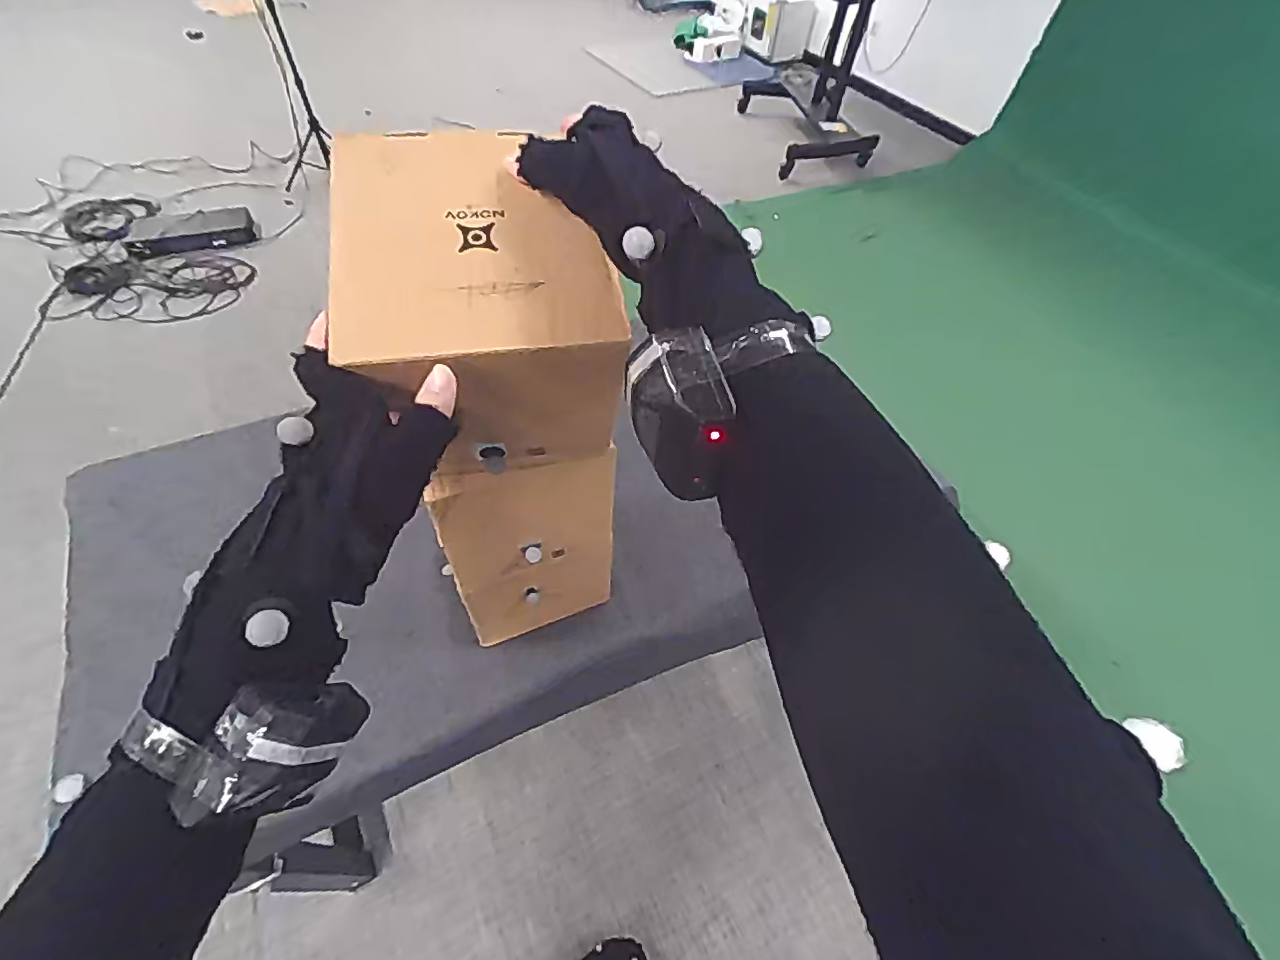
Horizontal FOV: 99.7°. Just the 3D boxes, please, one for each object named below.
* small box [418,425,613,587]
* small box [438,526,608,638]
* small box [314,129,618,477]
[{"bbox_3d":[-0.138,-0.022,0.558,0.168,0.176,0.179,-20,55,-18],"label":"small box"},{"bbox_3d":[-0.148,0.076,0.690,0.179,0.176,0.168,-19,56,-16],"label":"small box"},{"bbox_3d":[-0.117,-0.119,0.400,0.168,0.176,0.179,-9,71,-10],"label":"small box"}]
